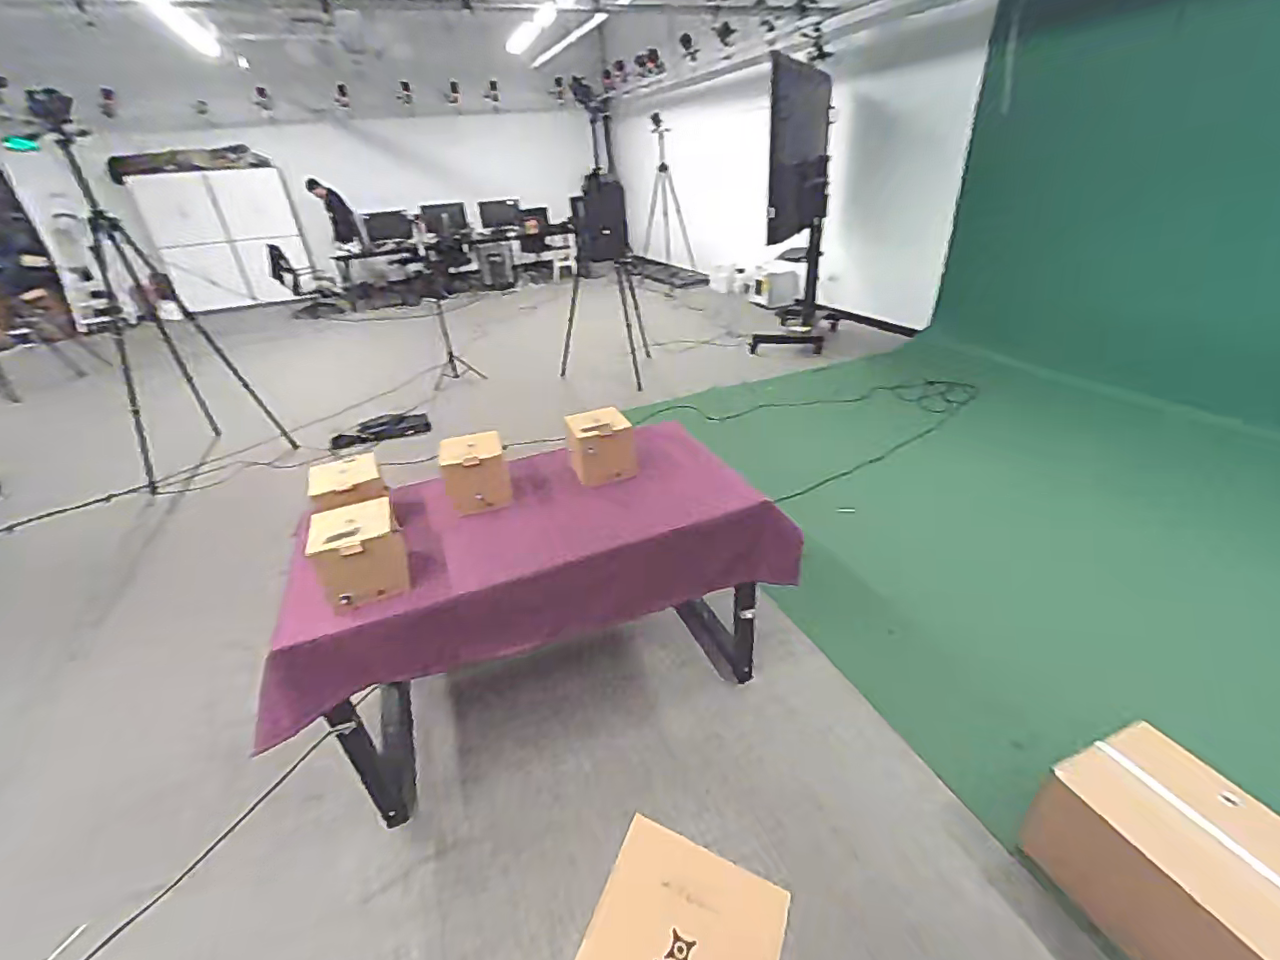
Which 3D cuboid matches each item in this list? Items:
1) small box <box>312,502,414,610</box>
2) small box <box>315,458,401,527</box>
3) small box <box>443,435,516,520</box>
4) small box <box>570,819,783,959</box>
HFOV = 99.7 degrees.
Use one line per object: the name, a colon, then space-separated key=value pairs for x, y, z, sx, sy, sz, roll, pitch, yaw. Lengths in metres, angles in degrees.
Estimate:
small box: x=-0.634 y=0.180 z=1.255 sx=0.168 sy=0.176 sz=0.179 roll=-16 pitch=30 yaw=-18
small box: x=-0.765 y=0.066 z=1.473 sx=0.168 sy=0.176 sz=0.179 roll=-17 pitch=33 yaw=-21
small box: x=-0.458 y=-0.009 z=1.555 sx=0.168 sy=0.176 sz=0.179 roll=-12 pitch=31 yaw=-11
small box: x=0.026 y=0.484 z=0.527 sx=0.168 sy=0.176 sz=0.179 roll=18 pitch=42 yaw=16
